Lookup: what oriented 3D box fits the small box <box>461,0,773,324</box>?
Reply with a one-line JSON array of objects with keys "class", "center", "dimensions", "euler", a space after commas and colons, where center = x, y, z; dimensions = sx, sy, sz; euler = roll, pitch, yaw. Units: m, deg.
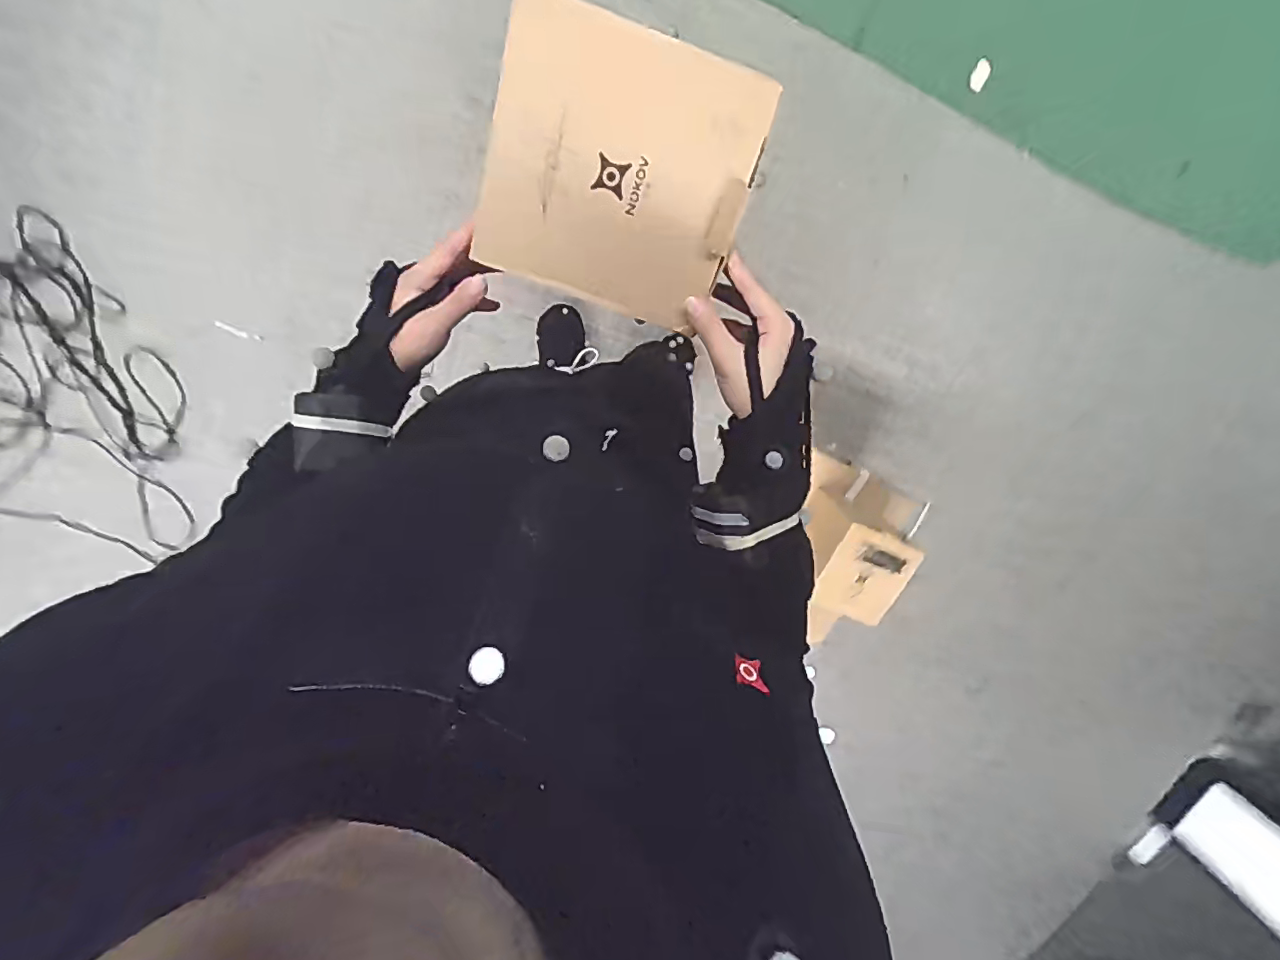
[{"class": "small box", "center": [-0.017, -0.241, 0.429], "dimensions": [0.179, 0.176, 0.168], "euler": [17, 114, -3]}]

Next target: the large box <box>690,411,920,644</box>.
[{"class": "large box", "center": [0.364, 0.102, 1.304], "dimensions": [0.320, 0.320, 0.408], "euler": [26, 107, -11]}]
